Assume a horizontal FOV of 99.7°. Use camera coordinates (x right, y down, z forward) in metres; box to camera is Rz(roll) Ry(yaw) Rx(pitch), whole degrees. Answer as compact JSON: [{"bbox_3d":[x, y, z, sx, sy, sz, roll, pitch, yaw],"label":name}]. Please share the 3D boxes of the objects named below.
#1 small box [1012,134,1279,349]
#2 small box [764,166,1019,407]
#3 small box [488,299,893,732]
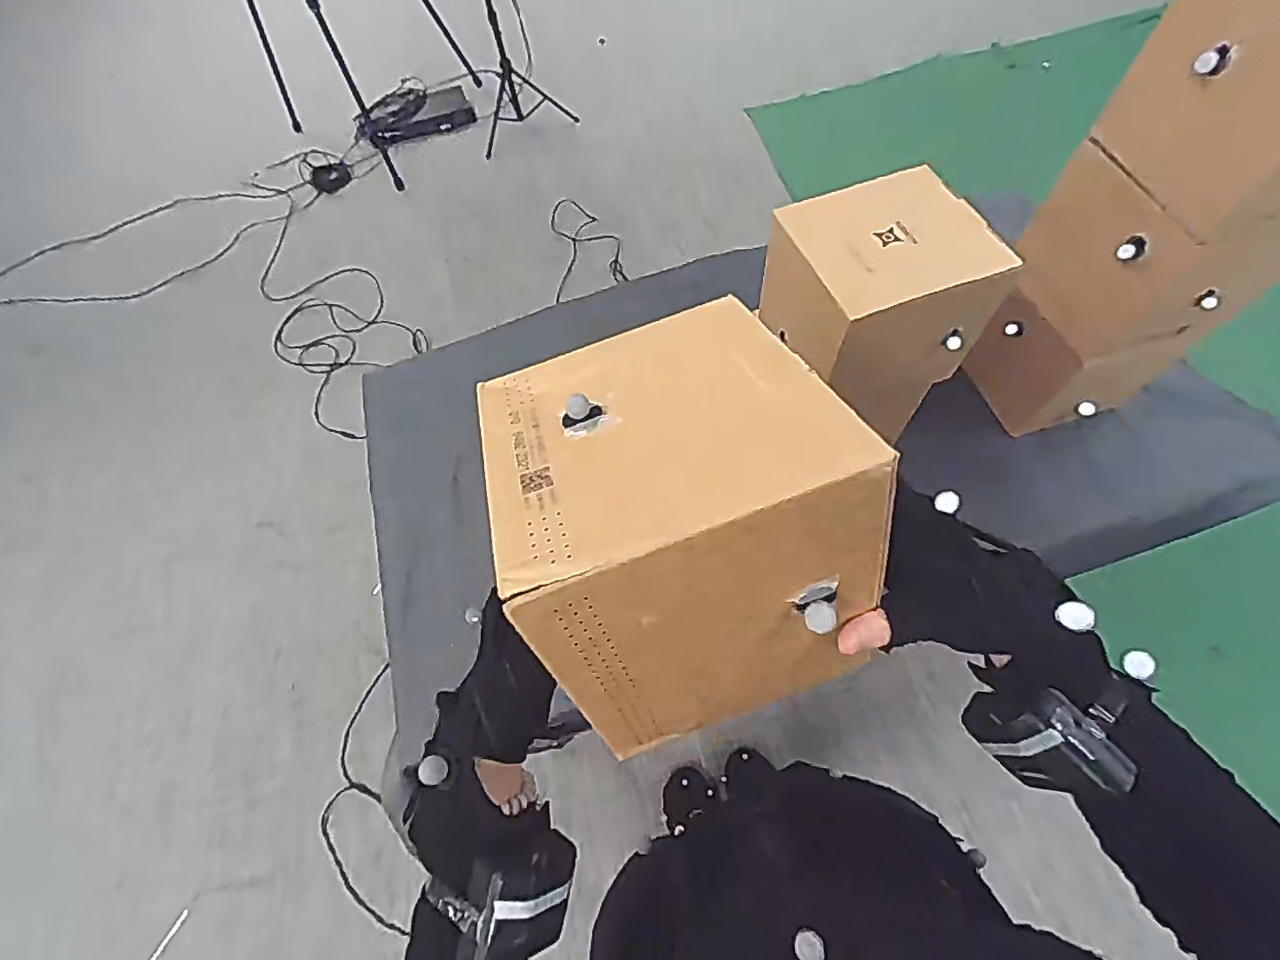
[{"bbox_3d":[0.565,-0.266,0.597,0.168,0.176,0.179,-14,63,-1],"label":"small box"},{"bbox_3d":[0.251,-0.199,0.597,0.179,0.176,0.168,-18,62,-4],"label":"small box"},{"bbox_3d":[0.022,0.025,0.326,0.176,0.179,0.168,-21,43,-2],"label":"small box"}]
